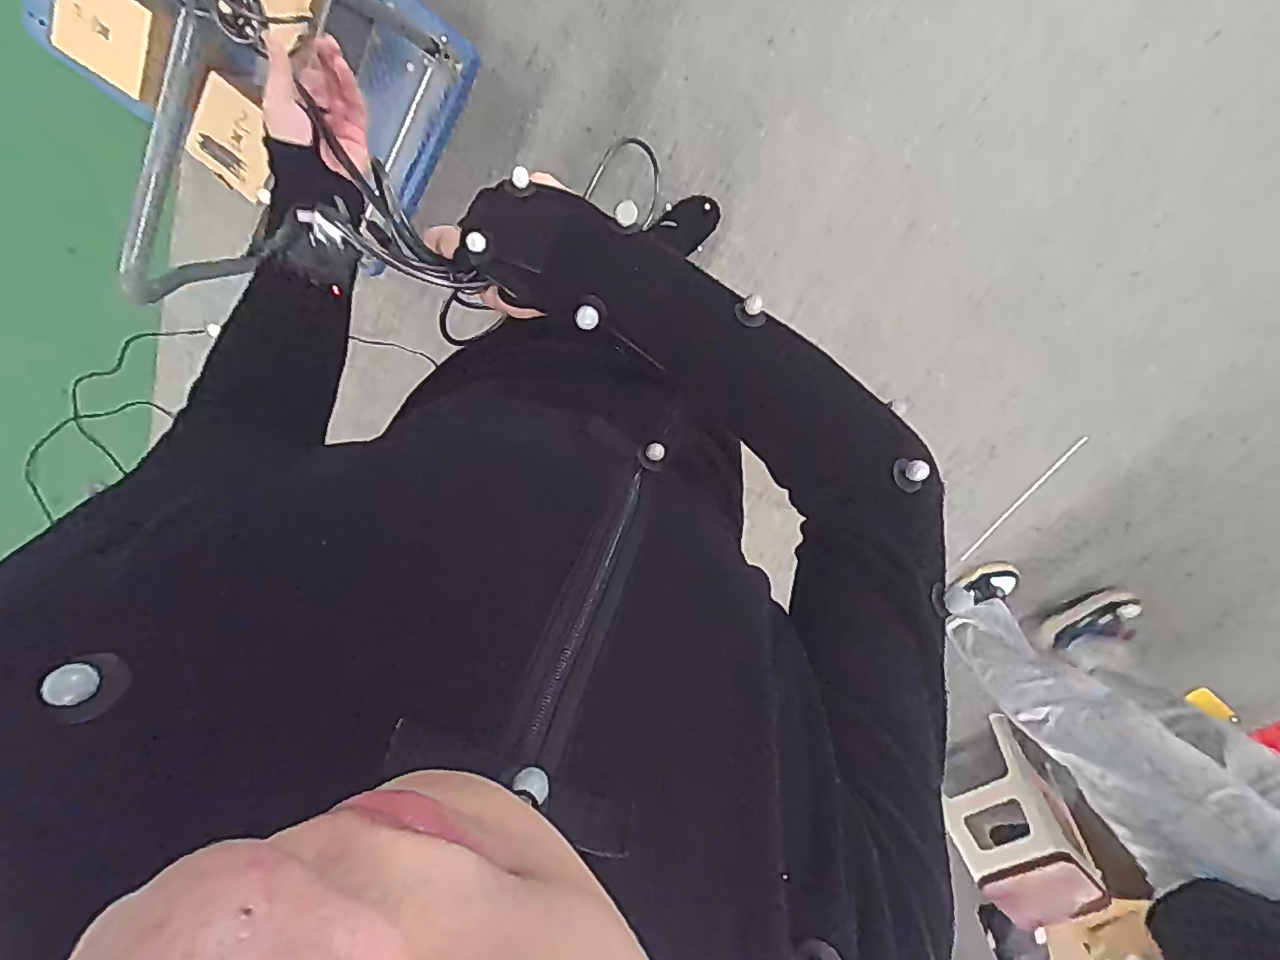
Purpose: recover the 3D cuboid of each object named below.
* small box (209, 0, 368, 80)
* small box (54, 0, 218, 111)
[{"bbox_3d":[-0.677,-0.926,1.052,0.179,0.176,0.168,37,115,-12],"label":"small box"},{"bbox_3d":[-1.022,-0.893,1.108,0.179,0.176,0.168,32,115,-10],"label":"small box"}]
